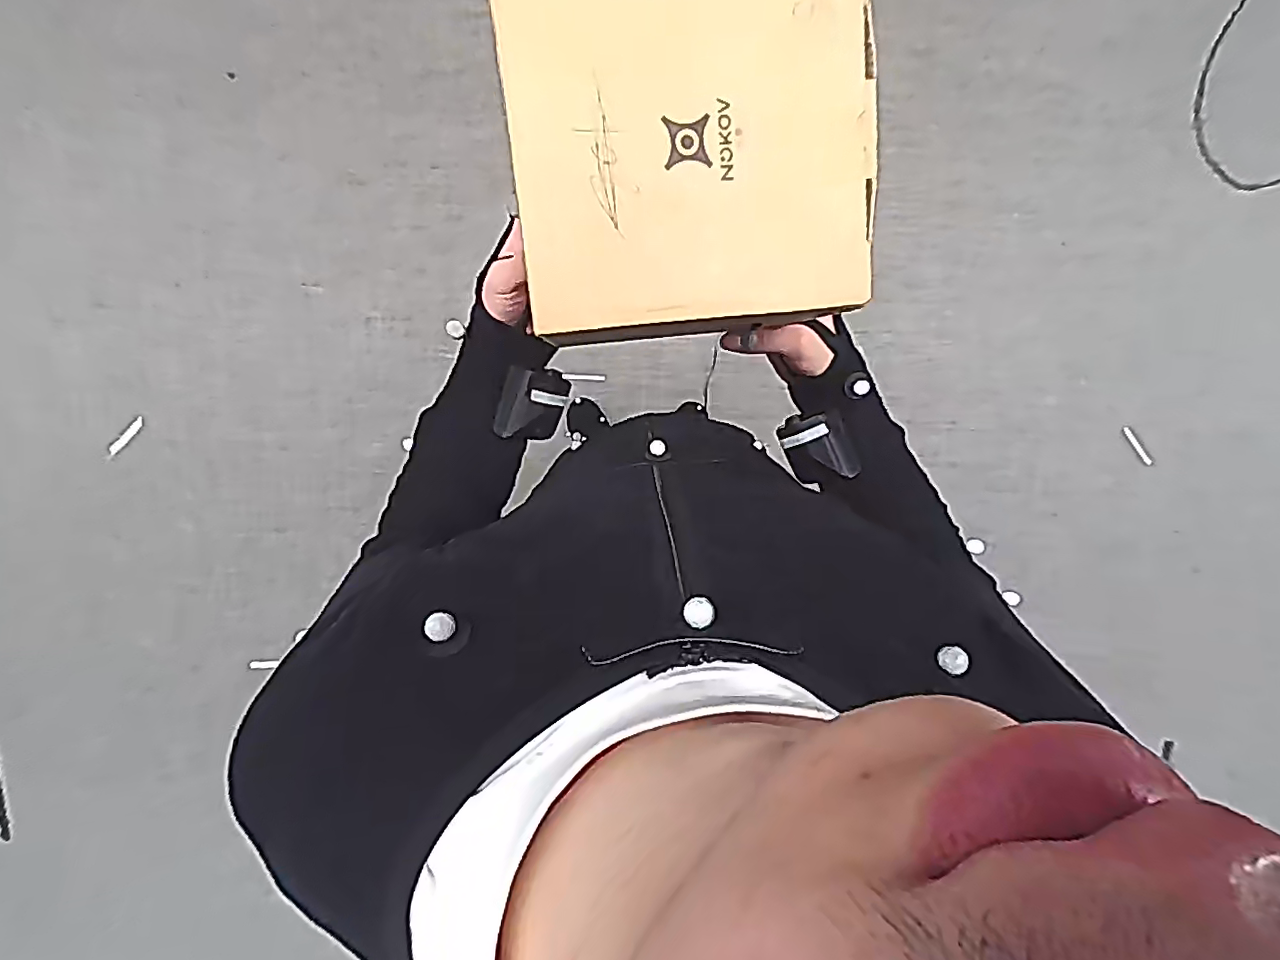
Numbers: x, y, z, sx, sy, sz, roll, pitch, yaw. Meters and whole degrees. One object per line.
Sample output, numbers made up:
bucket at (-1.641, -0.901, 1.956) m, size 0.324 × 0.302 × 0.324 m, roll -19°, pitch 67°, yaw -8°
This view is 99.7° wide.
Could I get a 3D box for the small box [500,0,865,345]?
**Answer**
small box at (0.020, -0.180, 0.346) m, size 0.179 × 0.176 × 0.168 m, roll -6°, pitch 101°, yaw -3°
